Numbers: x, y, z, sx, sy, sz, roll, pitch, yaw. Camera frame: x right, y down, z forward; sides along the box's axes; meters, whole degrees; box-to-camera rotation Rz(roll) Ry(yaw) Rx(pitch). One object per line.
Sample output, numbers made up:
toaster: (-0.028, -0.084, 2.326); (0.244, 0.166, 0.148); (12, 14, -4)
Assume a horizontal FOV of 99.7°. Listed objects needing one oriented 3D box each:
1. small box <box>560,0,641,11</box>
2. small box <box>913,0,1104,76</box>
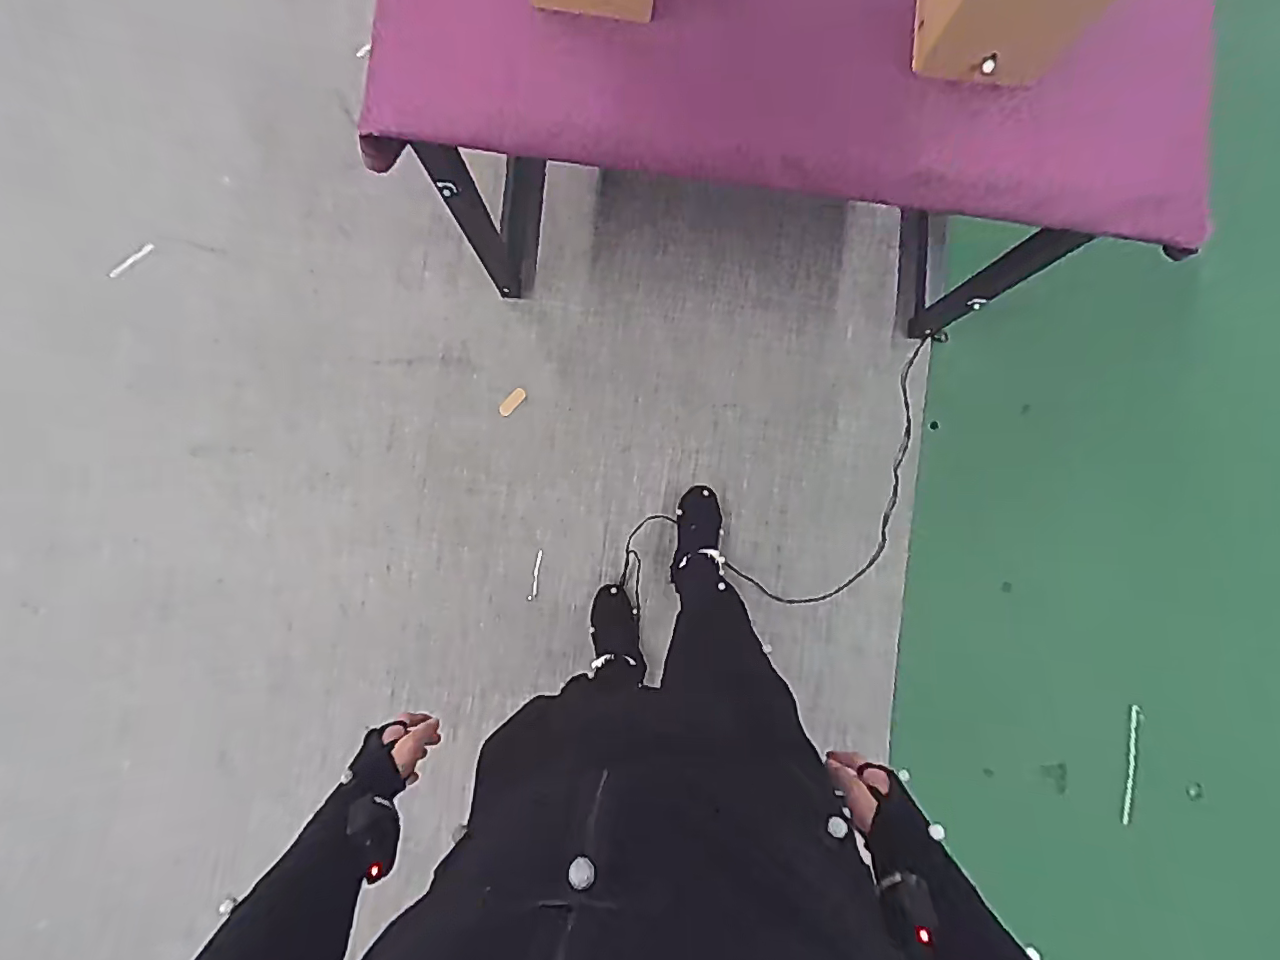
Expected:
small box: (-0.061, -0.758, 0.694); (0.179, 0.176, 0.168); (7, 87, -1)
small box: (0.487, -0.668, 0.699); (0.179, 0.176, 0.168); (5, 87, -1)
